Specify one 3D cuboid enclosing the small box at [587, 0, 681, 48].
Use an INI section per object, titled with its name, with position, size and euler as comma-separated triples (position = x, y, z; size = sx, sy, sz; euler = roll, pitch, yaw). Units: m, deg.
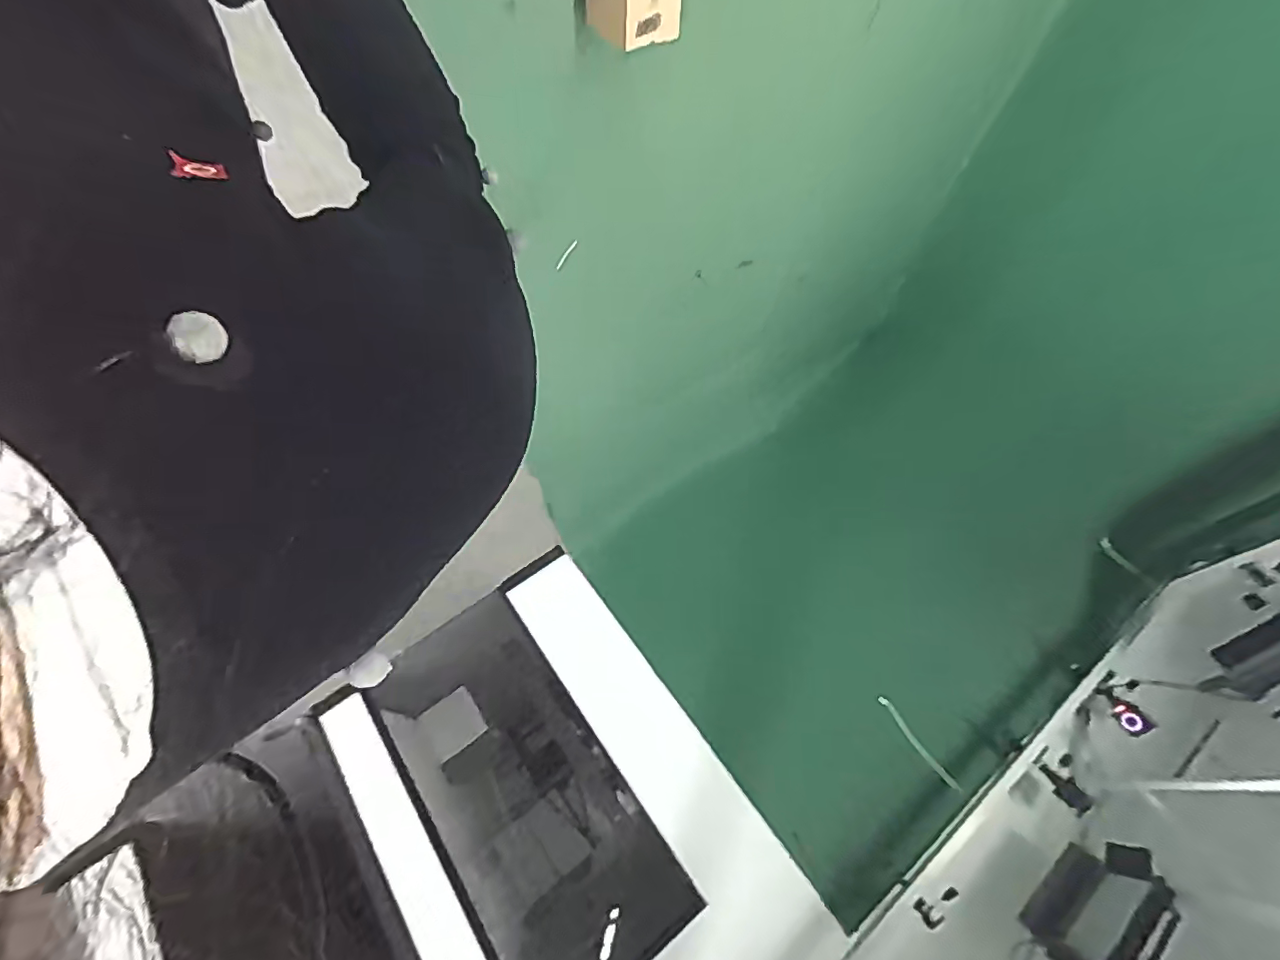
[small box]
position = -0.015, -1.171, 1.274
size = 0.168, 0.176, 0.179
euler = -32, 156, -20
